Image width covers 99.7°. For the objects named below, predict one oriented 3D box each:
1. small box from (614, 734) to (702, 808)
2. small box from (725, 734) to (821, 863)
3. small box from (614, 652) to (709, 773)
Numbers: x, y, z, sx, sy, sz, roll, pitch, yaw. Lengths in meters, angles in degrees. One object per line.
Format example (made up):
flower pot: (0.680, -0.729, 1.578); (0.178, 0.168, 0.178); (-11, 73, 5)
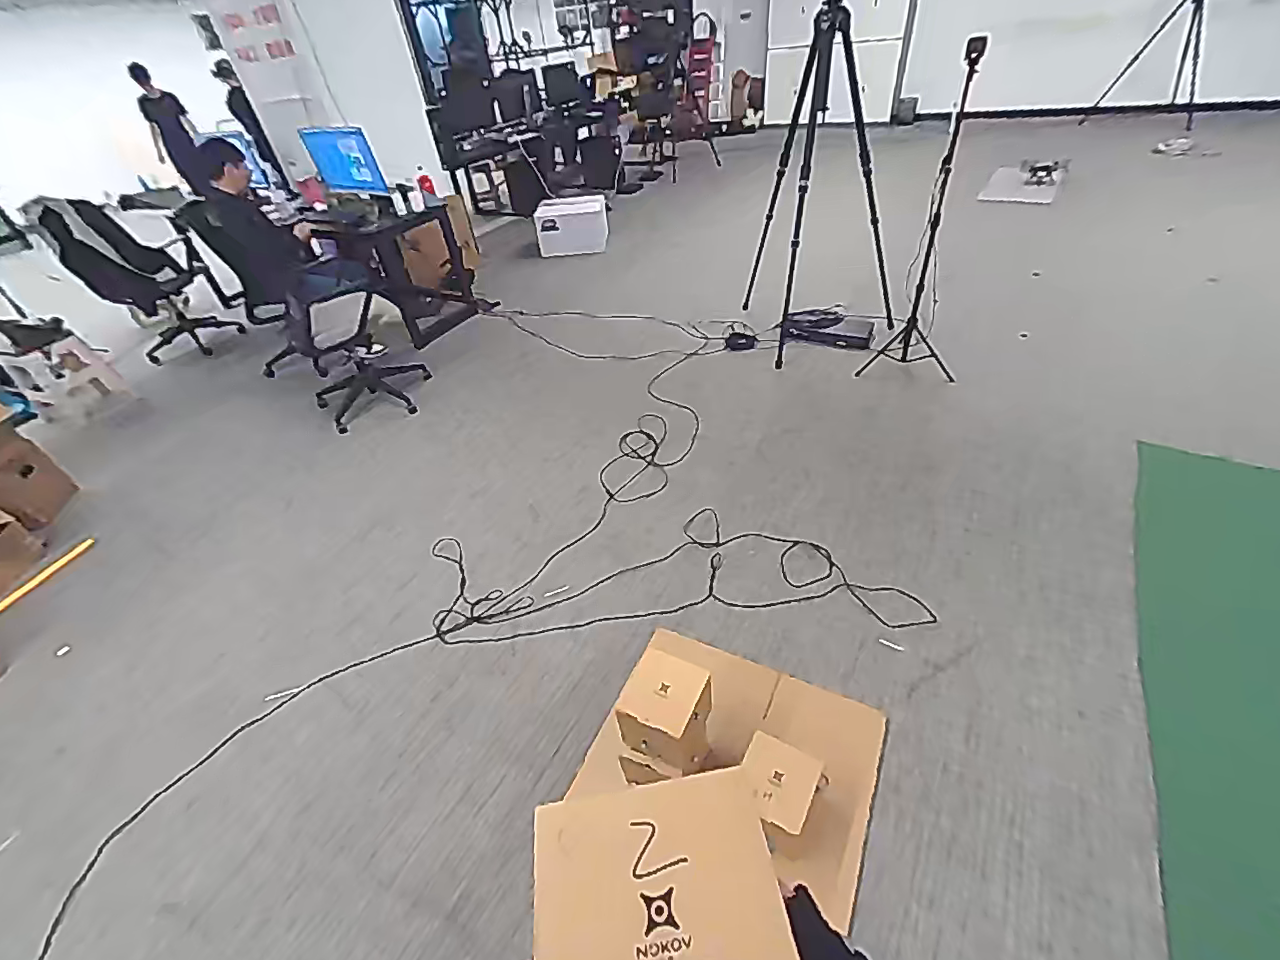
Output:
small box: (0.055, 0.691, 1.371); (0.168, 0.176, 0.179); (13, 44, 23)
small box: (0.308, 0.747, 1.268); (0.168, 0.176, 0.179); (17, 46, 28)
small box: (0.055, 0.551, 1.284); (0.168, 0.176, 0.179); (15, 45, 24)
